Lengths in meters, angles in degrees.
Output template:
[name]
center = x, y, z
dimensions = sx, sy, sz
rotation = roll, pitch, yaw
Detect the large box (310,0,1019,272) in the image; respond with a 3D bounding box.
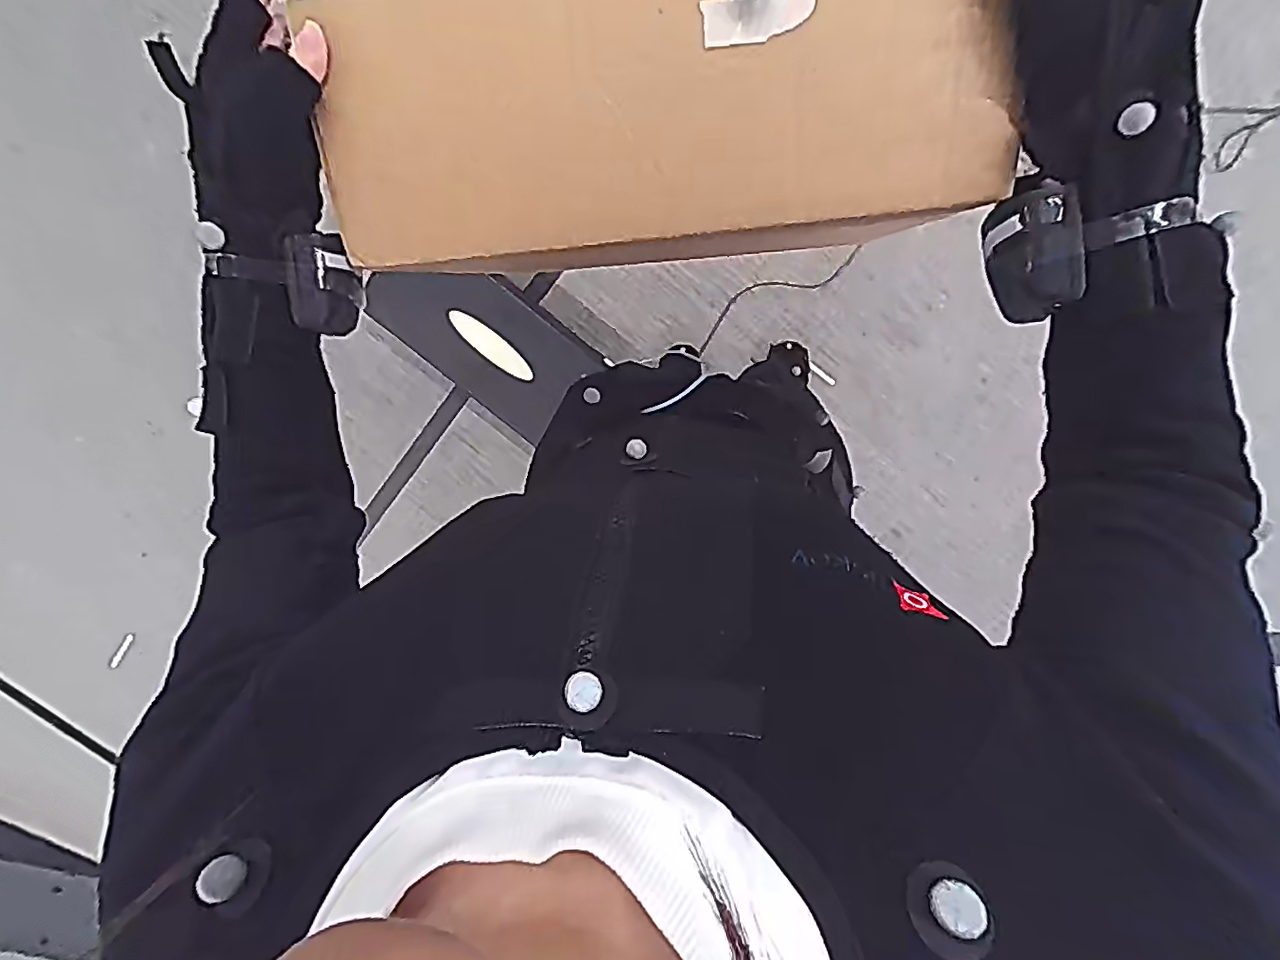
[large box]
center = 0.015, -0.355, 0.430
dimensions = 0.408, 0.320, 0.320
rotation = -3, 110, 9
